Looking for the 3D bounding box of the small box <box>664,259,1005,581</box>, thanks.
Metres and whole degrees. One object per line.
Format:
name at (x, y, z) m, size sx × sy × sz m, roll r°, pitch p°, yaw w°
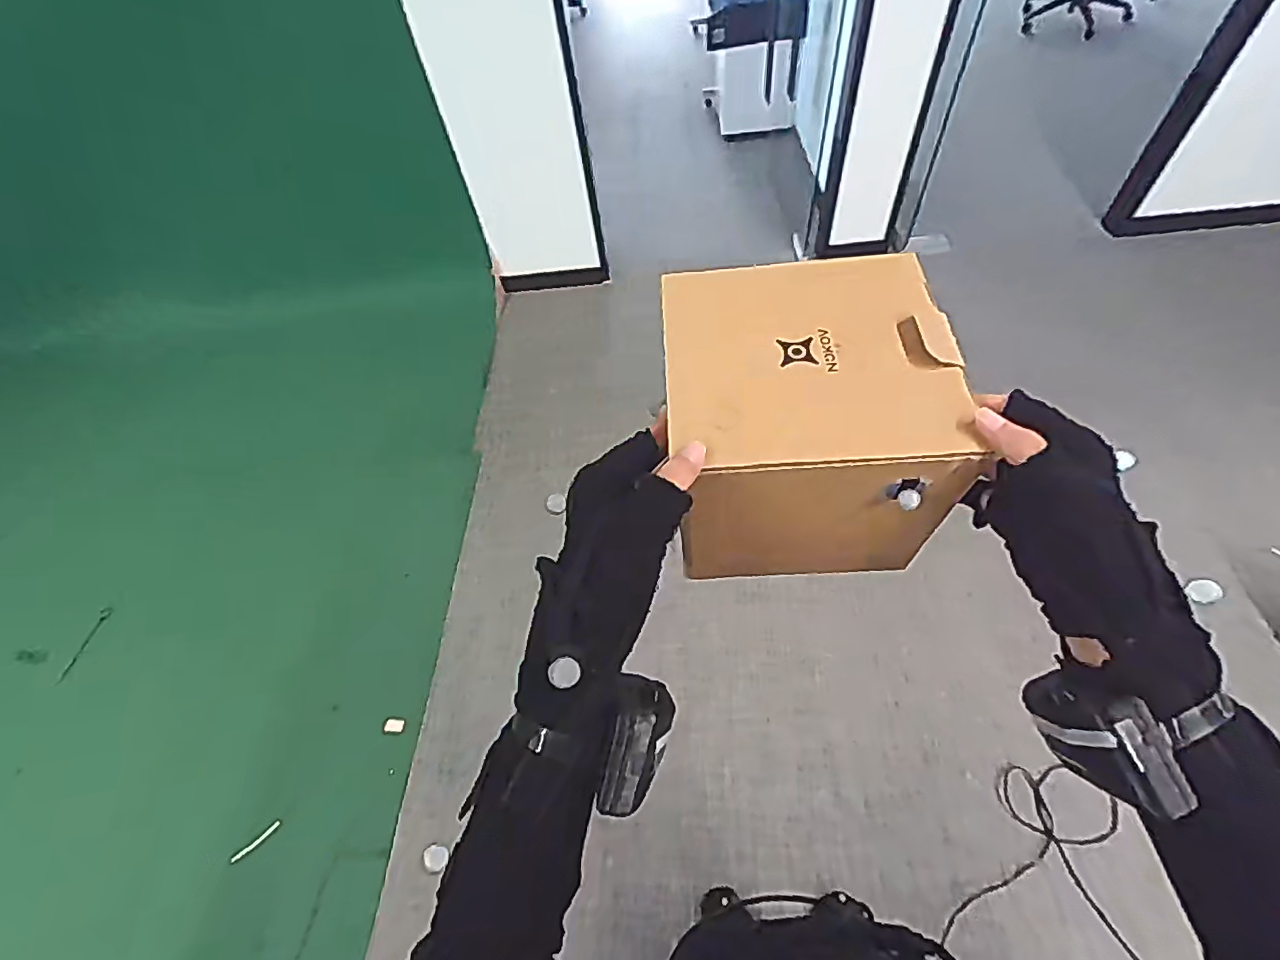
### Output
small box at (0.113, -0.032, 0.396) m, size 0.179 × 0.176 × 0.168 m, roll -3°, pitch 59°, yaw 4°
